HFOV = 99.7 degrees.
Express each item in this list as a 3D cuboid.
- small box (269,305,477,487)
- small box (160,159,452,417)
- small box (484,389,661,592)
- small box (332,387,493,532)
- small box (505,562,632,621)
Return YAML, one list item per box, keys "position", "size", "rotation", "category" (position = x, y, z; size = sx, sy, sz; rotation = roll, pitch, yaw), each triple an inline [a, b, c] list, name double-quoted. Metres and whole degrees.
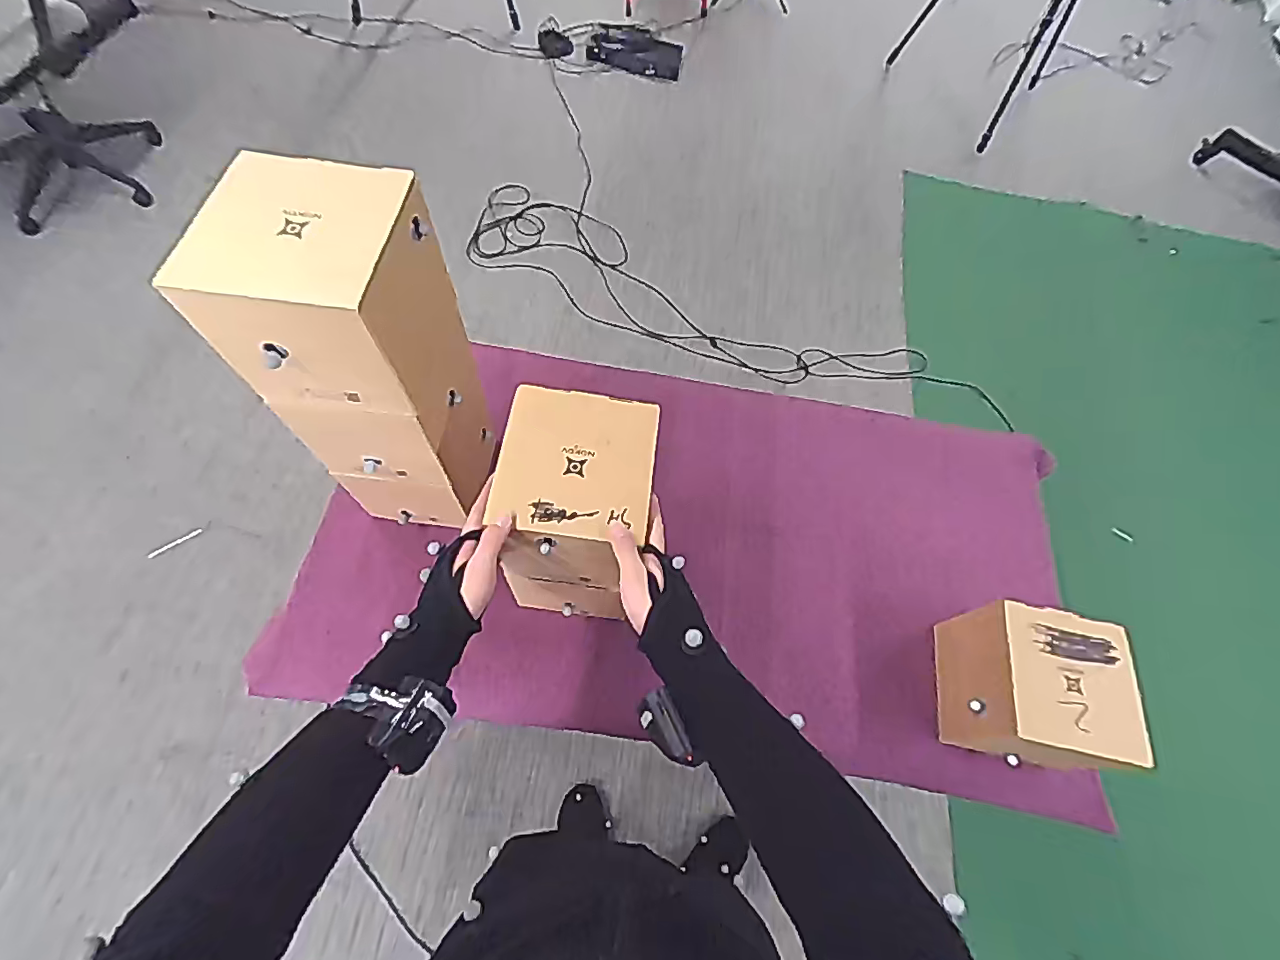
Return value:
- position: [-0.318, -0.111, 0.691]
  size: [0.168, 0.176, 0.179]
  rotation: [7, 64, -1]
  category: "small box"
- position: [-0.305, -0.182, 0.546]
  size: [0.168, 0.176, 0.179]
  rotation: [6, 63, -1]
  category: "small box"
- position: [-0.074, 0.019, 0.650]
  size: [0.168, 0.176, 0.179]
  rotation: [8, 63, -1]
  category: "small box"
- position: [-0.333, -0.037, 0.836]
  size: [0.168, 0.176, 0.179]
  rotation: [7, 64, -1]
  category: "small box"
- position: [-0.089, 0.094, 0.795]
  size: [0.168, 0.176, 0.179]
  rotation: [9, 63, -1]
  category: "small box"
